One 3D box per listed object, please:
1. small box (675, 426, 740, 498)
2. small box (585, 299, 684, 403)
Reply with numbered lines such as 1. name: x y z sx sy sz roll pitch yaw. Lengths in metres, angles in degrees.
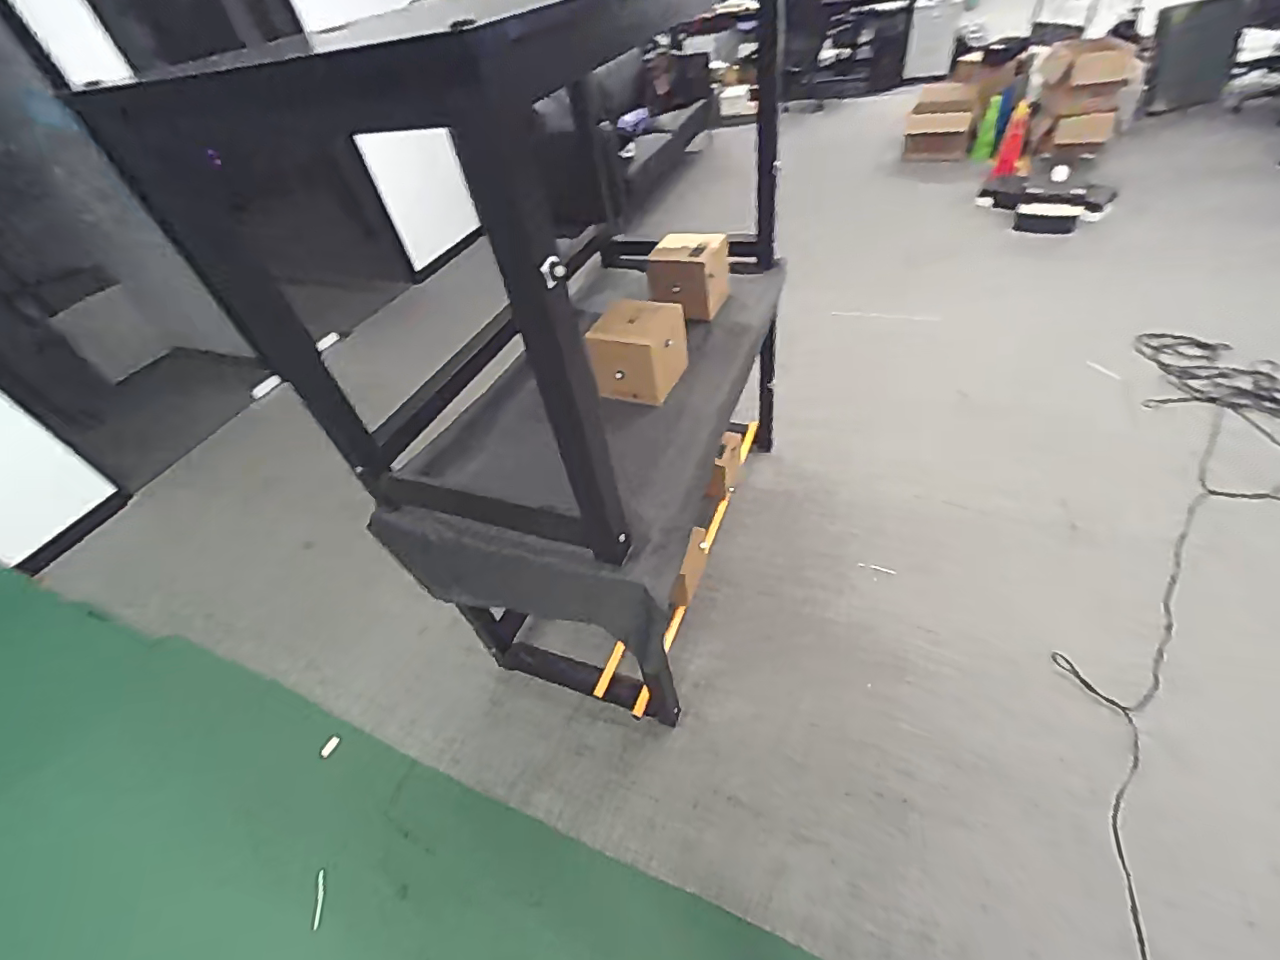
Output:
1. small box: 0.237 -0.060 1.868 0.179 0.176 0.168 14 50 23
2. small box: -0.004 -0.302 1.272 0.168 0.176 0.179 14 50 23
